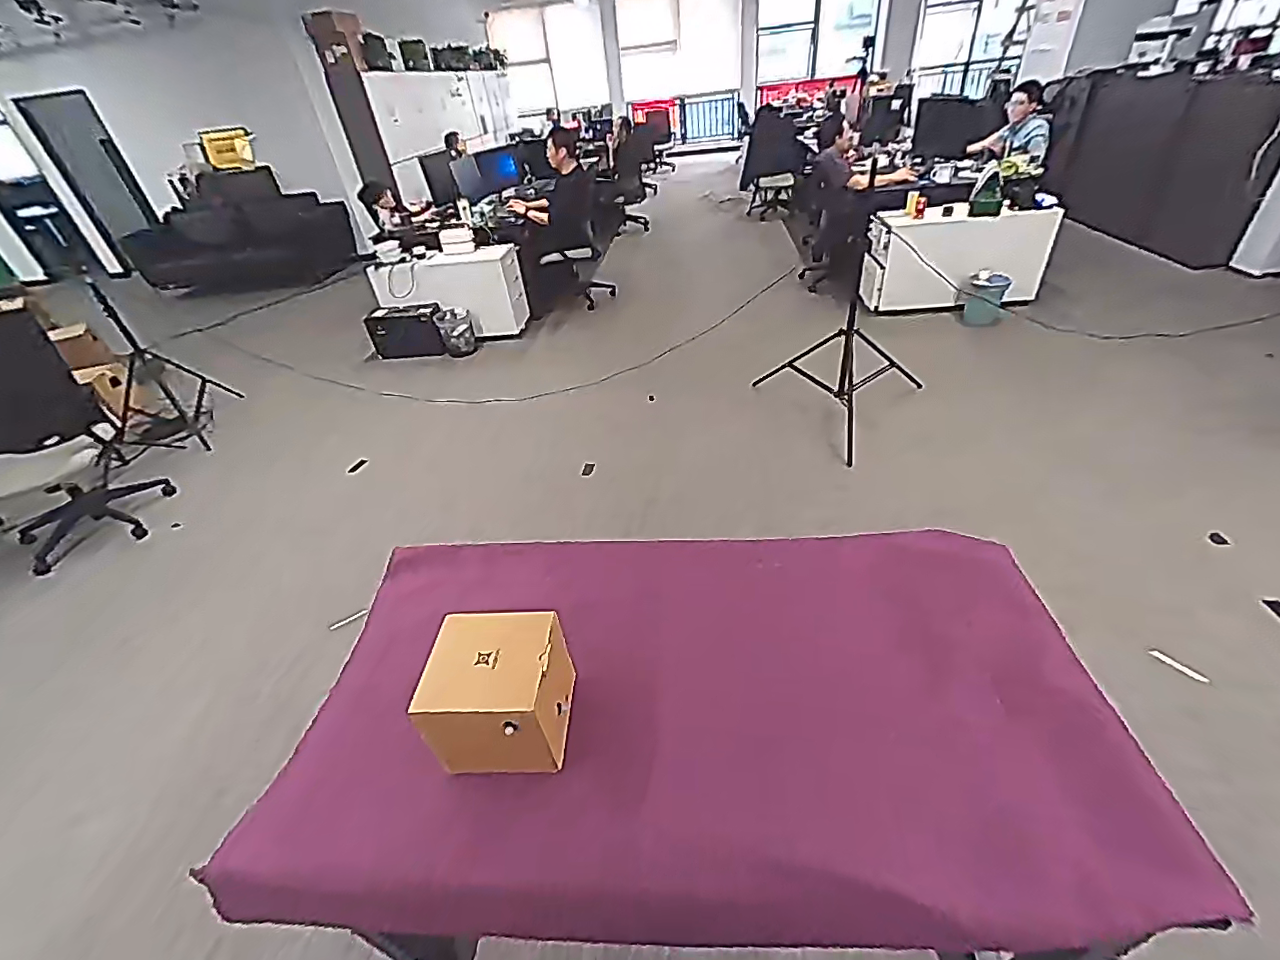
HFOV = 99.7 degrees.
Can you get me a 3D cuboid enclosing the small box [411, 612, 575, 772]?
[{"bbox_3d":[-0.206,0.320,0.814,0.179,0.176,0.168,-3,36,4],"label":"small box"}]
